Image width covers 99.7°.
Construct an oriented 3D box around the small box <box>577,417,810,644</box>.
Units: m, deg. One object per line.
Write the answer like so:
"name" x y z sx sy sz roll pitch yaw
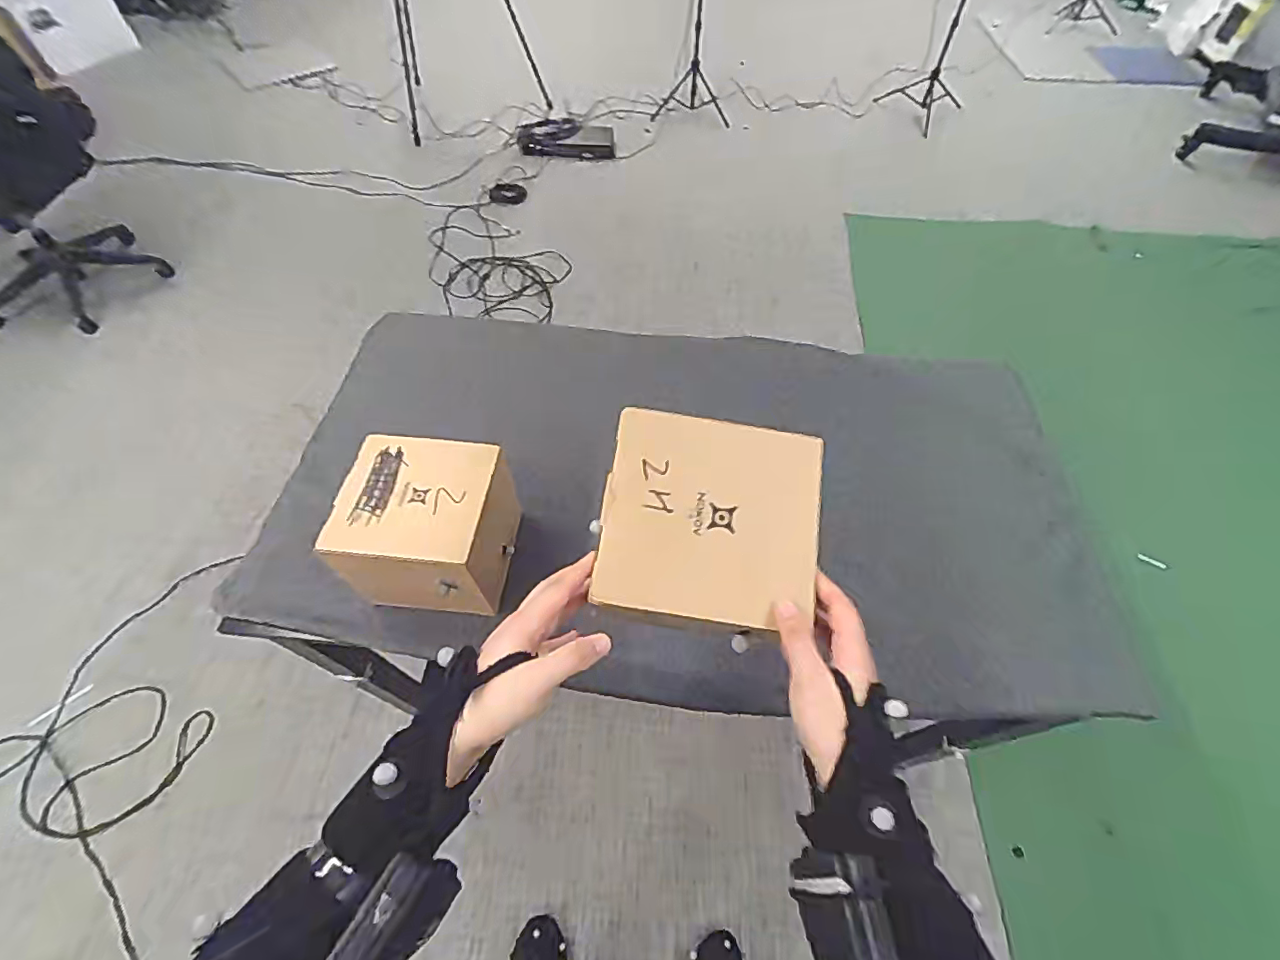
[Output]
"small box" 0.045 0.060 0.517 0.179 0.176 0.168 9 70 1
